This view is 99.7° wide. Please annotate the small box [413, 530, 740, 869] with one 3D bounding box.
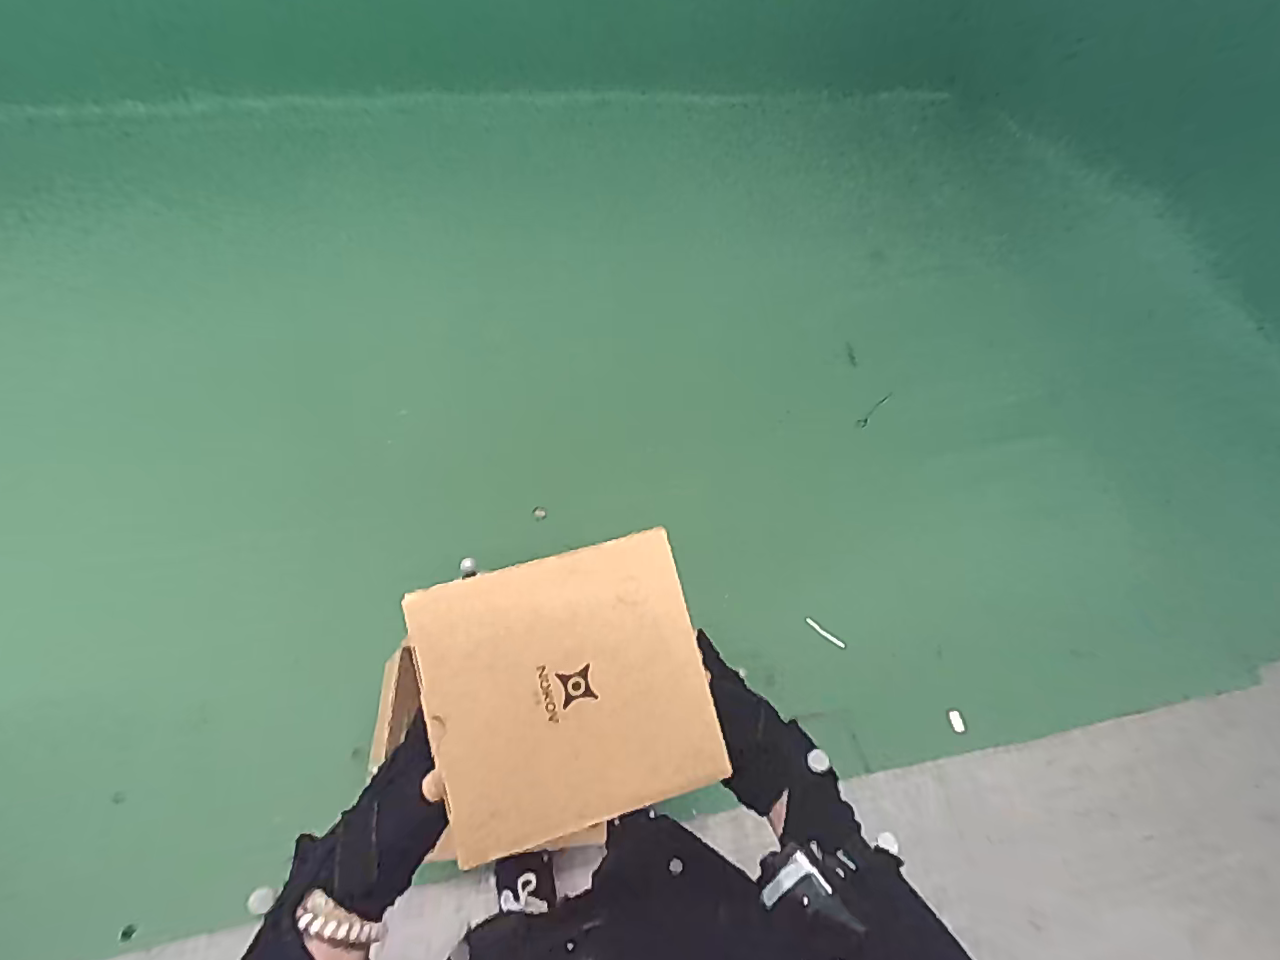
[{"bbox_3d":[-0.049,0.141,0.416,0.179,0.176,0.168,-15,83,-9],"label":"small box"}]
